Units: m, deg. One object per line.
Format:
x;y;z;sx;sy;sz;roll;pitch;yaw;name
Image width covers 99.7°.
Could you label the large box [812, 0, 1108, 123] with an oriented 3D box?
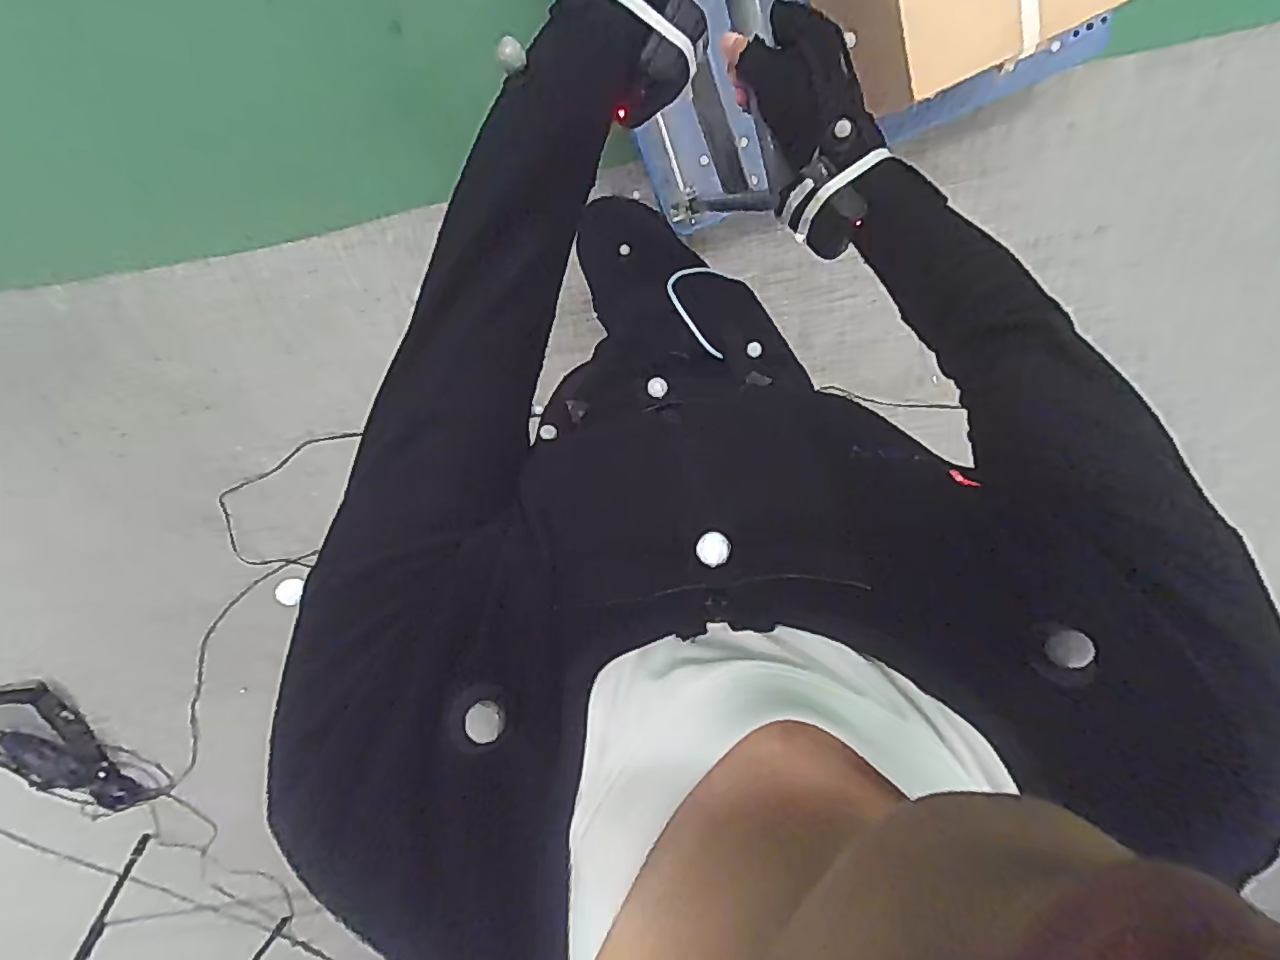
0.444;-0.832;0.799;0.320;0.320;0.408;-22;115;8;large box
